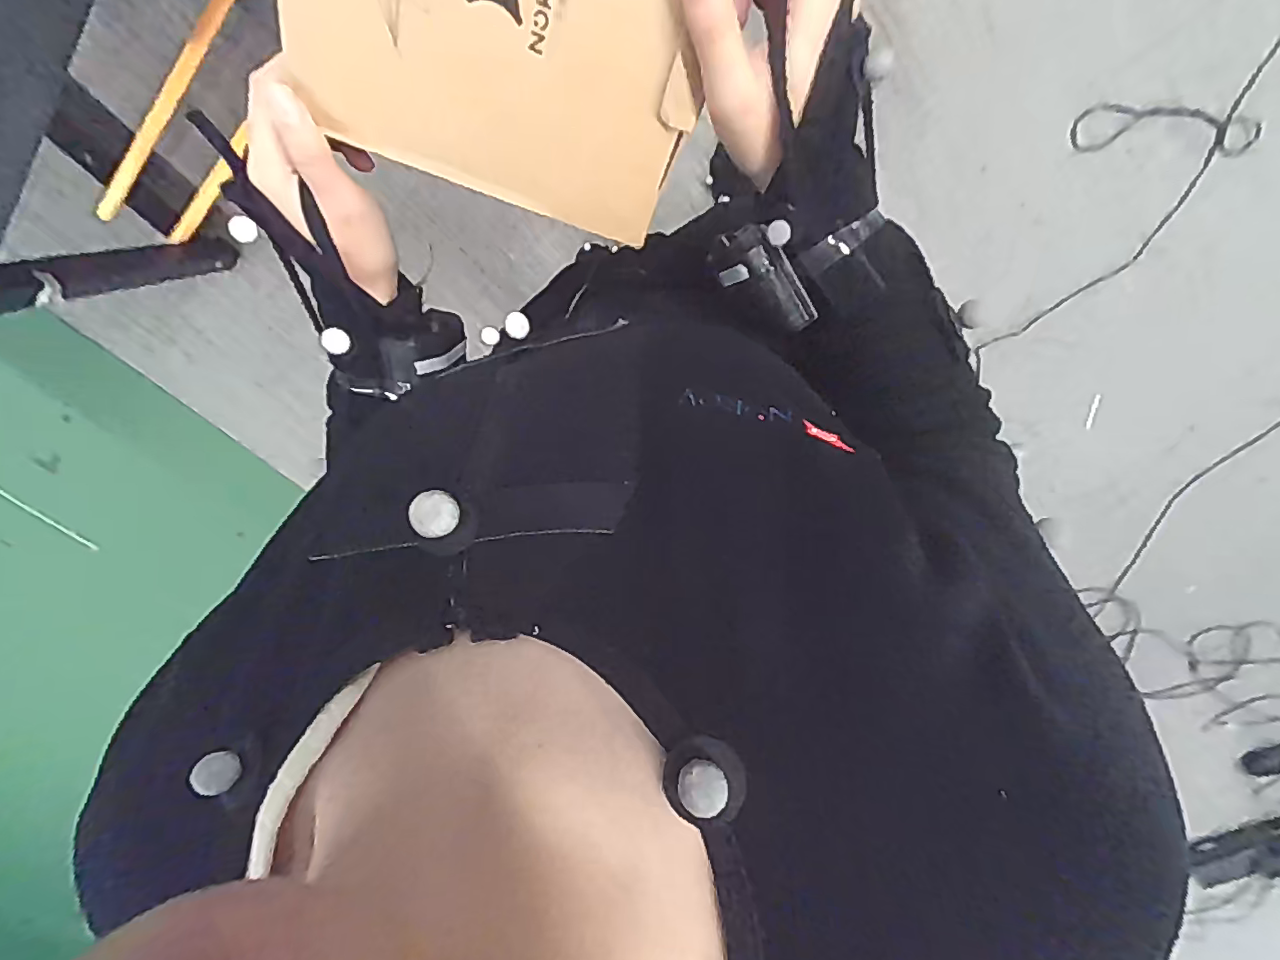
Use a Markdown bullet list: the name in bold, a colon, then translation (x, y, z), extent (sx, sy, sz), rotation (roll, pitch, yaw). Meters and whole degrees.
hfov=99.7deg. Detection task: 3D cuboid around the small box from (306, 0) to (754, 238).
- **small box**: translation (-0.044, -0.260, 0.274), extent (0.179, 0.176, 0.168), rotation (14, 133, -14)
